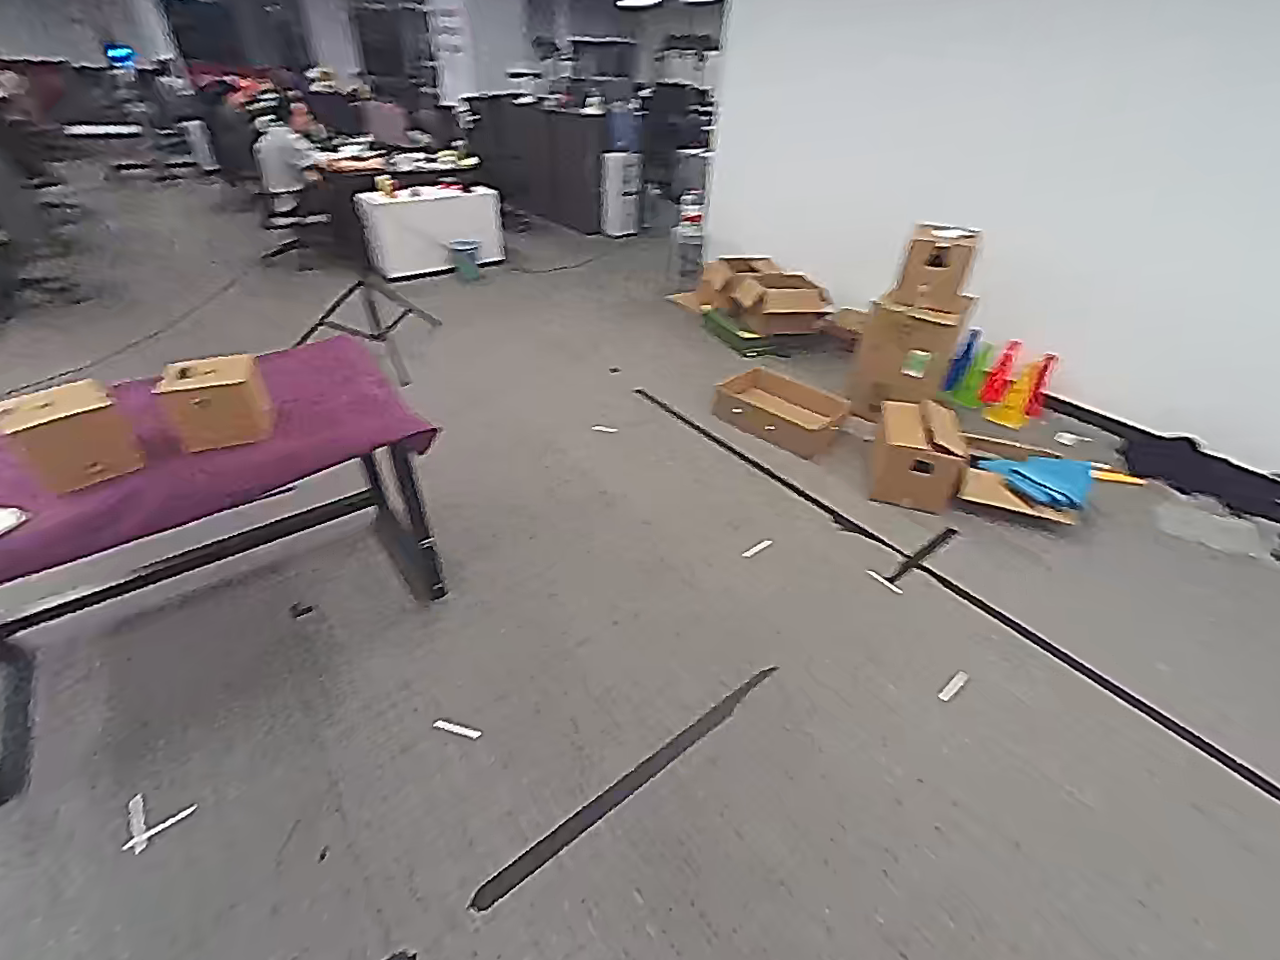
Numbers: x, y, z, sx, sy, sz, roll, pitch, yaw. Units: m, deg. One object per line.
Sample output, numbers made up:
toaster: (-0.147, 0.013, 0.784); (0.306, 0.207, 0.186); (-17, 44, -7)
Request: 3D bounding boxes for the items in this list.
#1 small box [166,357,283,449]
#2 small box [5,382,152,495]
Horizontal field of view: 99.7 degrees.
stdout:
small box: (-1.042, -0.194, 1.372); (0.179, 0.176, 0.168); (-12, 39, -20)
small box: (-1.261, -0.096, 1.229); (0.168, 0.176, 0.179); (28, 43, 30)
